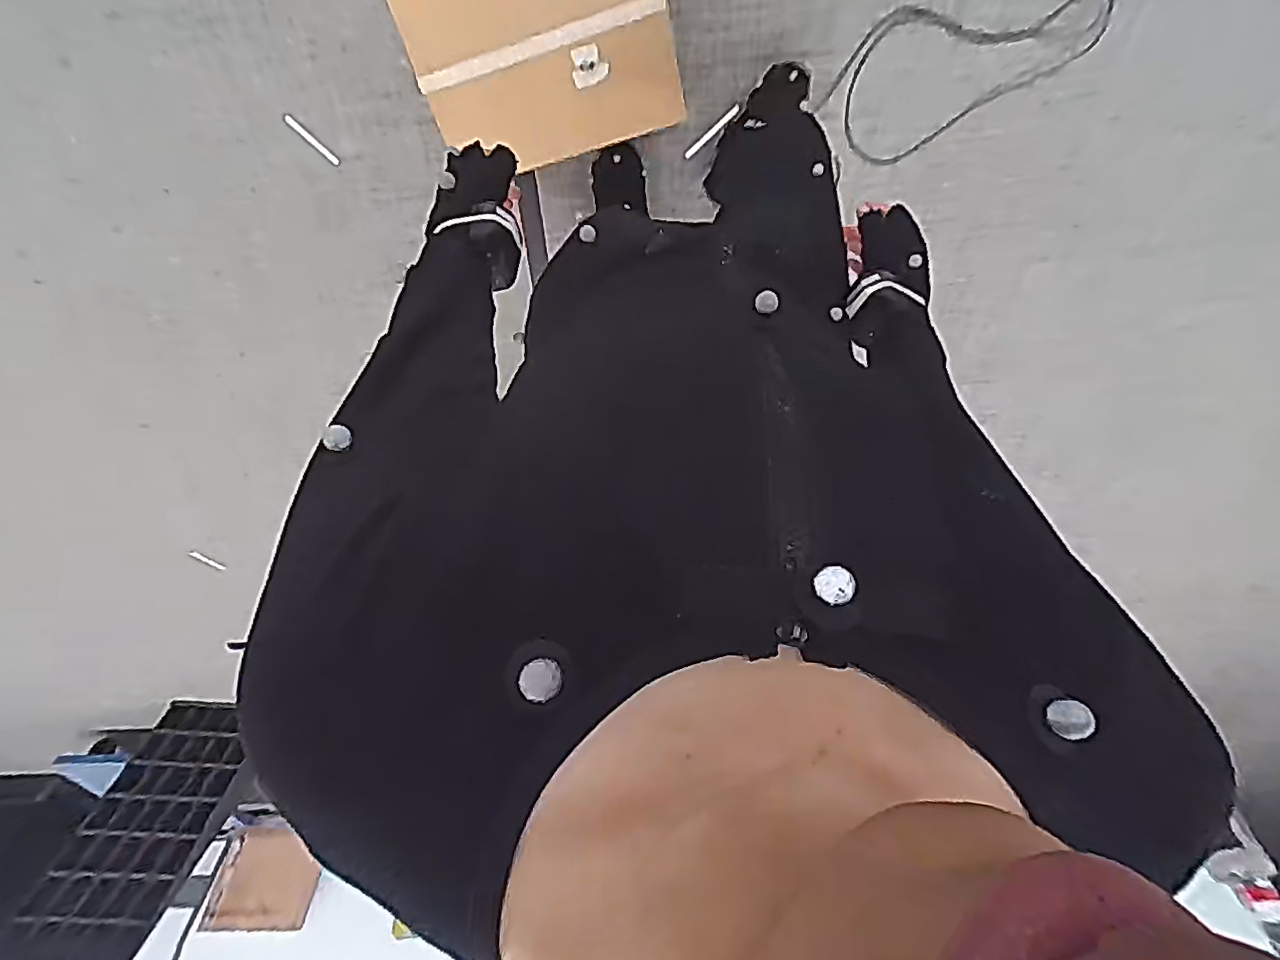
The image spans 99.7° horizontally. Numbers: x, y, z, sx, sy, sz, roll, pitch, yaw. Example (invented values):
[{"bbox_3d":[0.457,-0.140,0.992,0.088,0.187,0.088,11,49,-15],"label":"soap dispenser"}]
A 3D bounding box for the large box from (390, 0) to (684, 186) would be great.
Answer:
[{"bbox_3d":[-0.158,-0.769,0.960,0.408,0.320,0.320,-12,127,9],"label":"large box"}]
